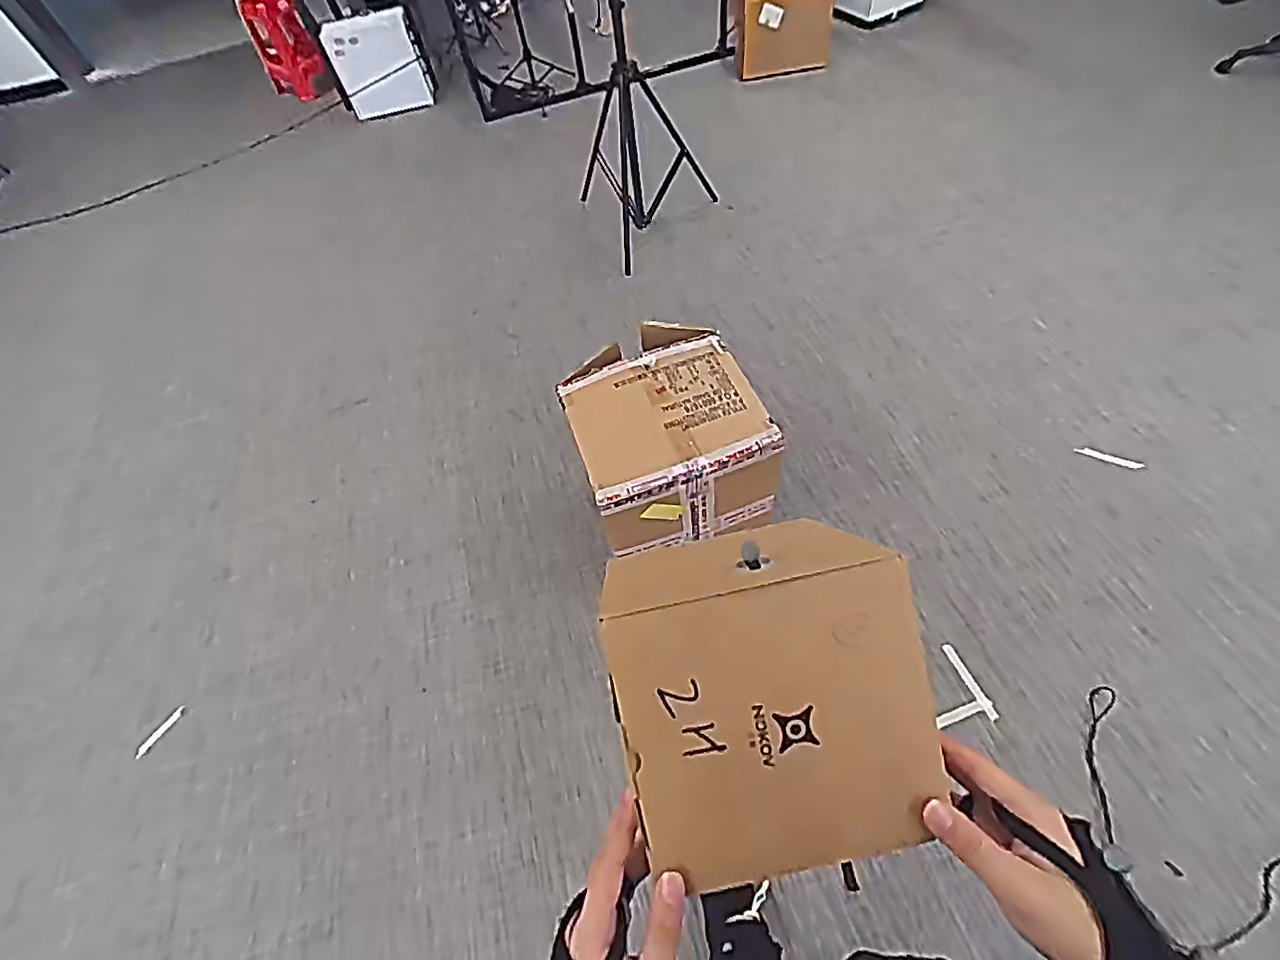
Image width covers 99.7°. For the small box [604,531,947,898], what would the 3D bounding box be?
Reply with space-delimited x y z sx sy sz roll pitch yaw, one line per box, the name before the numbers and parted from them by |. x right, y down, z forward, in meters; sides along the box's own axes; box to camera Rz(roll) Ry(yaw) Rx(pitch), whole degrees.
small box | 0.076 0.139 0.386 0.179 0.176 0.168 -12 92 -1
